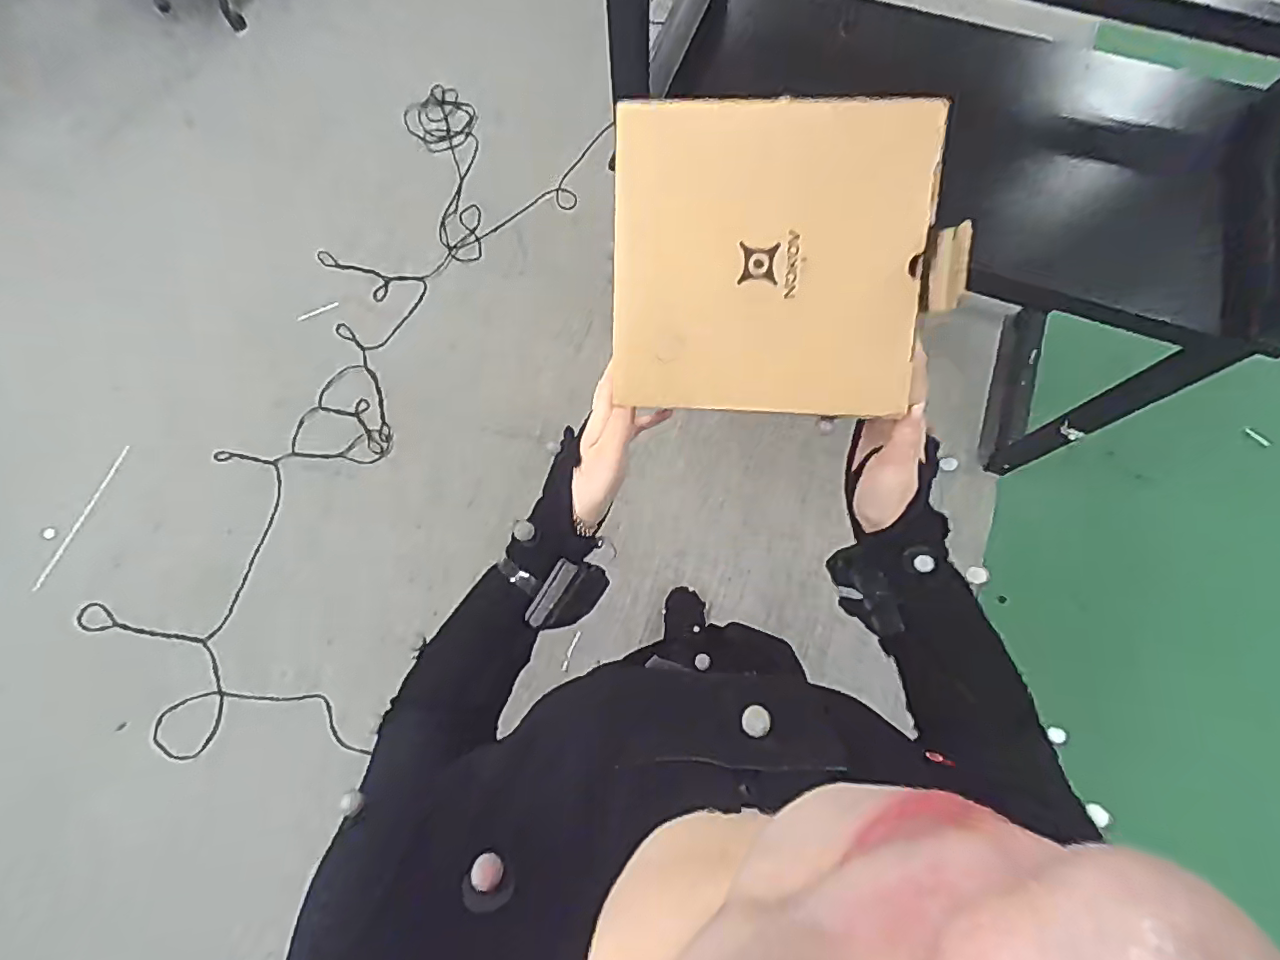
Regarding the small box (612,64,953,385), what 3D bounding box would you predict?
[{"bbox_3d":[0.080,-0.153,0.378,0.179,0.176,0.168,3,102,4],"label":"small box"}]
